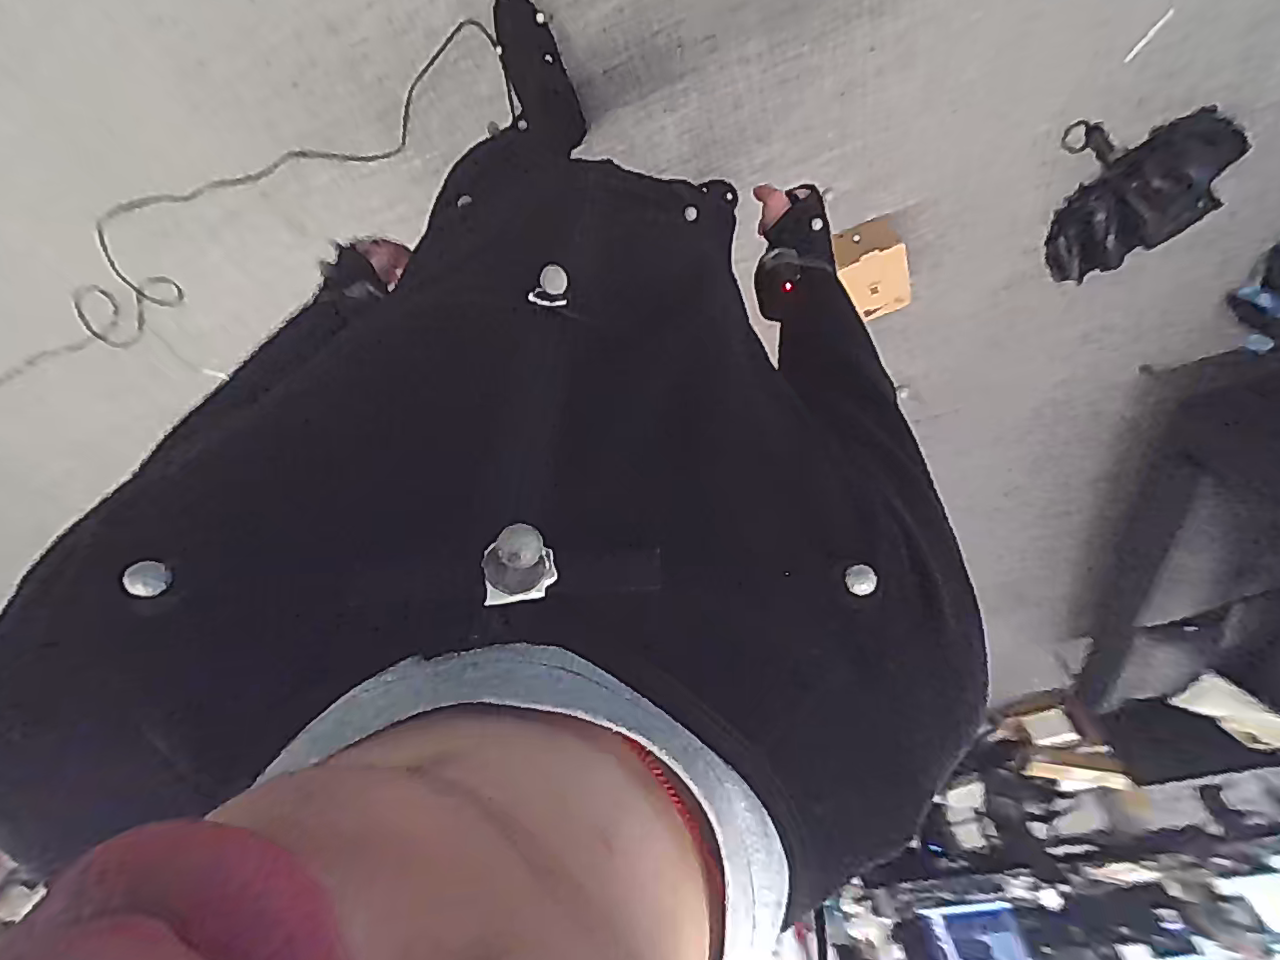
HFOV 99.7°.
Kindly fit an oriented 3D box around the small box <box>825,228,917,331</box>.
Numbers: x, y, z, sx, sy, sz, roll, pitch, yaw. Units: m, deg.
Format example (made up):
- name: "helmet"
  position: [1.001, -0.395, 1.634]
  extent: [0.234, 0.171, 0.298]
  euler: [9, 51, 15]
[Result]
- name: "small box"
  position: [0.588, -0.521, 1.389]
  extent: [0.168, 0.176, 0.179]
  euler: [-18, 131, 15]
